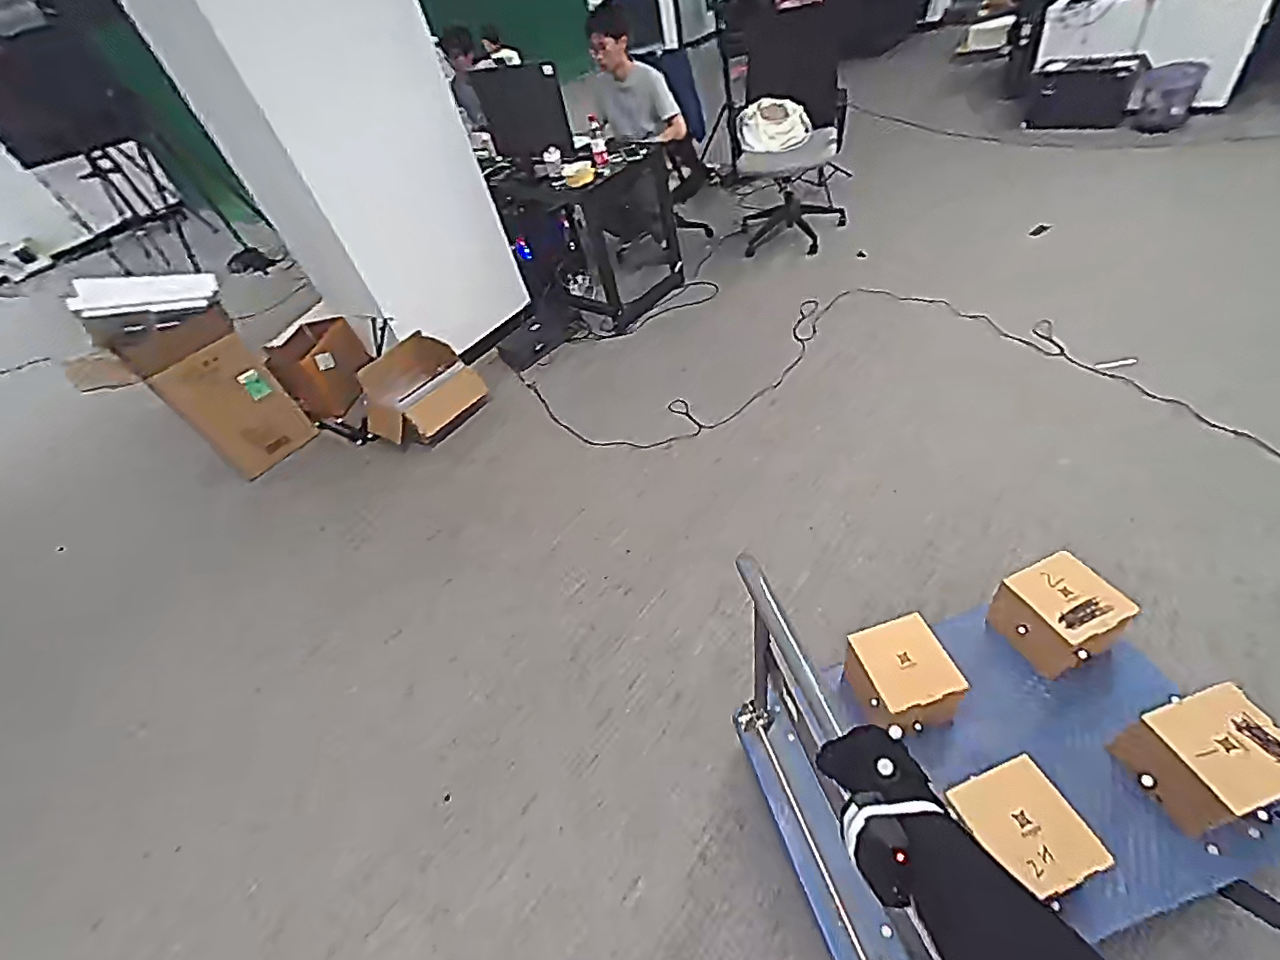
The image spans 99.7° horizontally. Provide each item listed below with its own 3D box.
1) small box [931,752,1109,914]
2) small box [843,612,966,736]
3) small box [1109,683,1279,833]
[{"bbox_3d":[0.645,0.619,0.947,0.168,0.176,0.179,-22,45,-4],"label":"small box"},{"bbox_3d":[0.556,0.420,1.167,0.168,0.176,0.179,-18,46,-1],"label":"small box"},{"bbox_3d":[1.000,0.495,0.959,0.179,0.176,0.168,-20,45,-1],"label":"small box"}]
